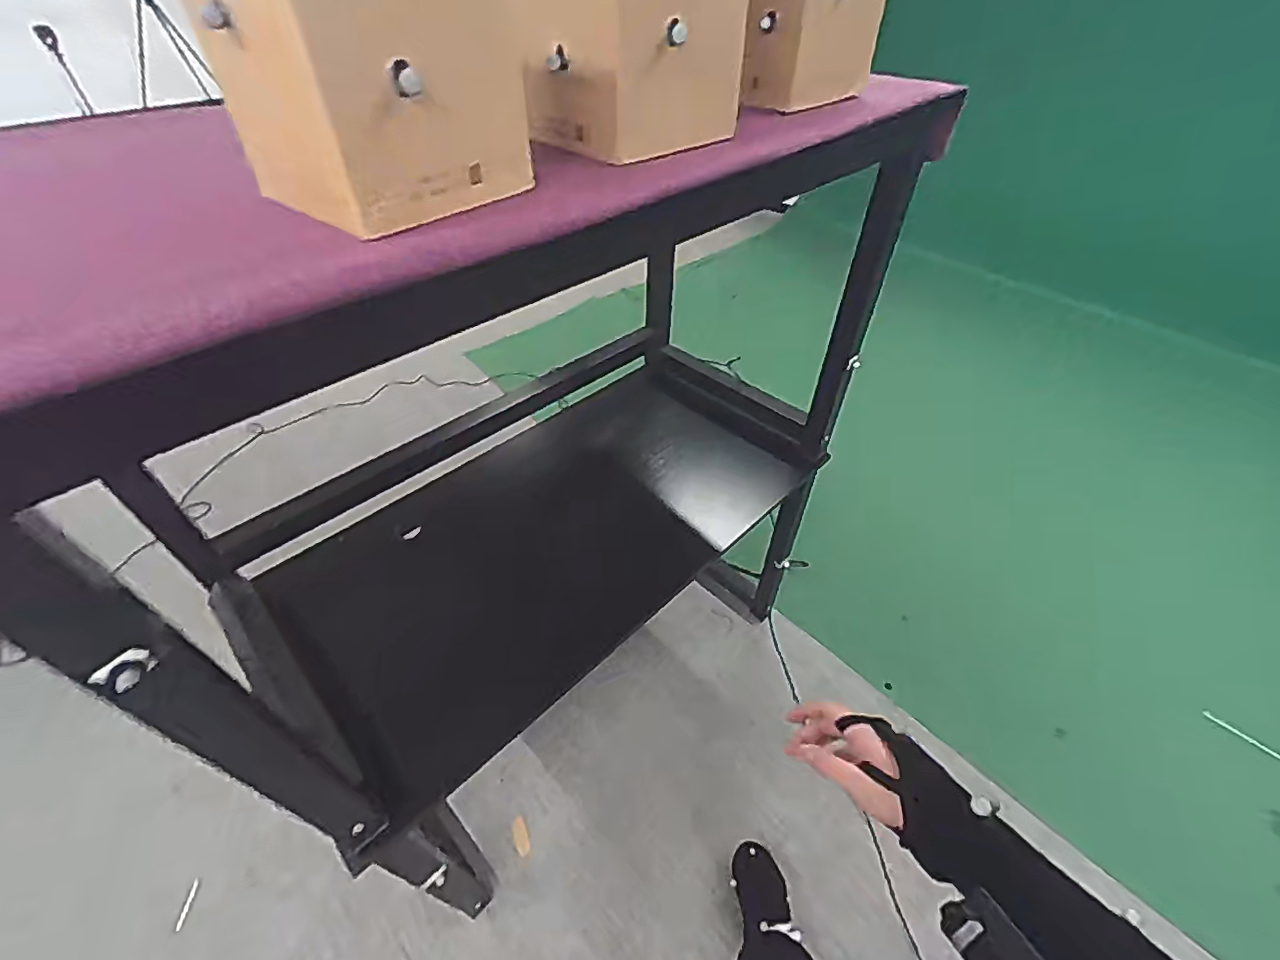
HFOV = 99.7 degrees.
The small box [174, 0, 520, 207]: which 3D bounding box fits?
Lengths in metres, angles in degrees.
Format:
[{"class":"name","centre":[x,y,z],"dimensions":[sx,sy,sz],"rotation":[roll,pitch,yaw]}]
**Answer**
[{"class":"small box","centre":[-0.211,-0.322,0.402],"dimensions":[0.179,0.176,0.168],"rotation":[32,53,28]}]

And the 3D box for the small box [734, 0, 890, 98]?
[{"class":"small box","centre":[0.206,-0.607,0.689],"dimensions":[0.179,0.176,0.168],"rotation":[-30,53,-27]}]

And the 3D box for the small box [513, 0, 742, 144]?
[{"class":"small box","centre":[-0.010,-0.451,0.531],"dimensions":[0.179,0.176,0.168],"rotation":[-33,55,-27]}]
